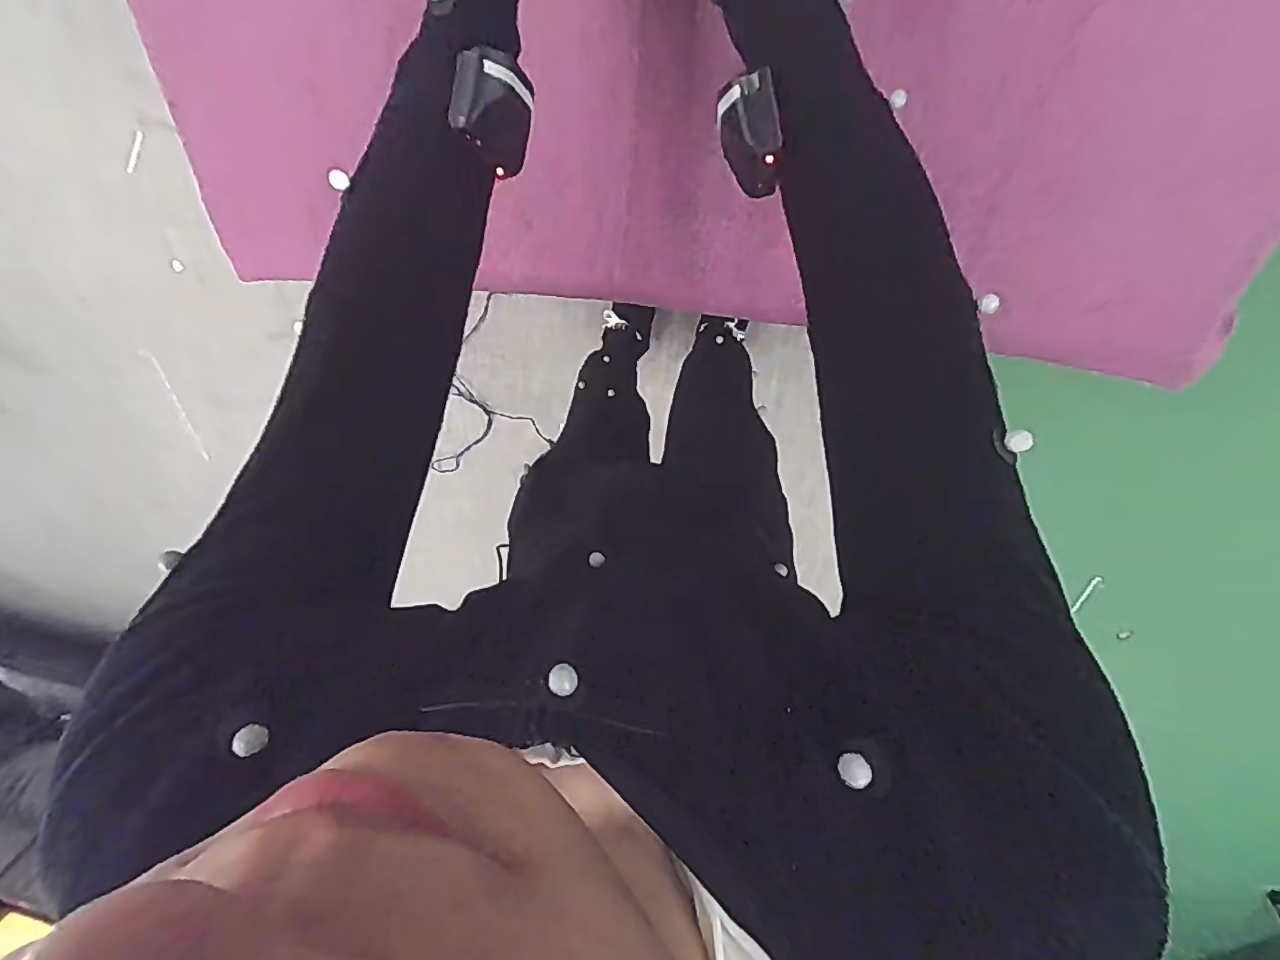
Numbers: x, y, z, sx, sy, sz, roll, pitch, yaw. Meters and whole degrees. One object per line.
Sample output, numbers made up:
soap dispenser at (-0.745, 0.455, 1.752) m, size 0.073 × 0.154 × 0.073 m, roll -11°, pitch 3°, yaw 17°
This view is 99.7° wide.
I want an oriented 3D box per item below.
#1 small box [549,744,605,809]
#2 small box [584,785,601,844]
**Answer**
small box at (-0.234, 1.122, 2.020) m, size 0.168 × 0.176 × 0.179 m, roll 13°, pitch 129°, yaw 6°
small box at (-0.260, 1.318, 2.179) m, size 0.168 × 0.176 × 0.179 m, roll 12°, pitch 125°, yaw 8°
